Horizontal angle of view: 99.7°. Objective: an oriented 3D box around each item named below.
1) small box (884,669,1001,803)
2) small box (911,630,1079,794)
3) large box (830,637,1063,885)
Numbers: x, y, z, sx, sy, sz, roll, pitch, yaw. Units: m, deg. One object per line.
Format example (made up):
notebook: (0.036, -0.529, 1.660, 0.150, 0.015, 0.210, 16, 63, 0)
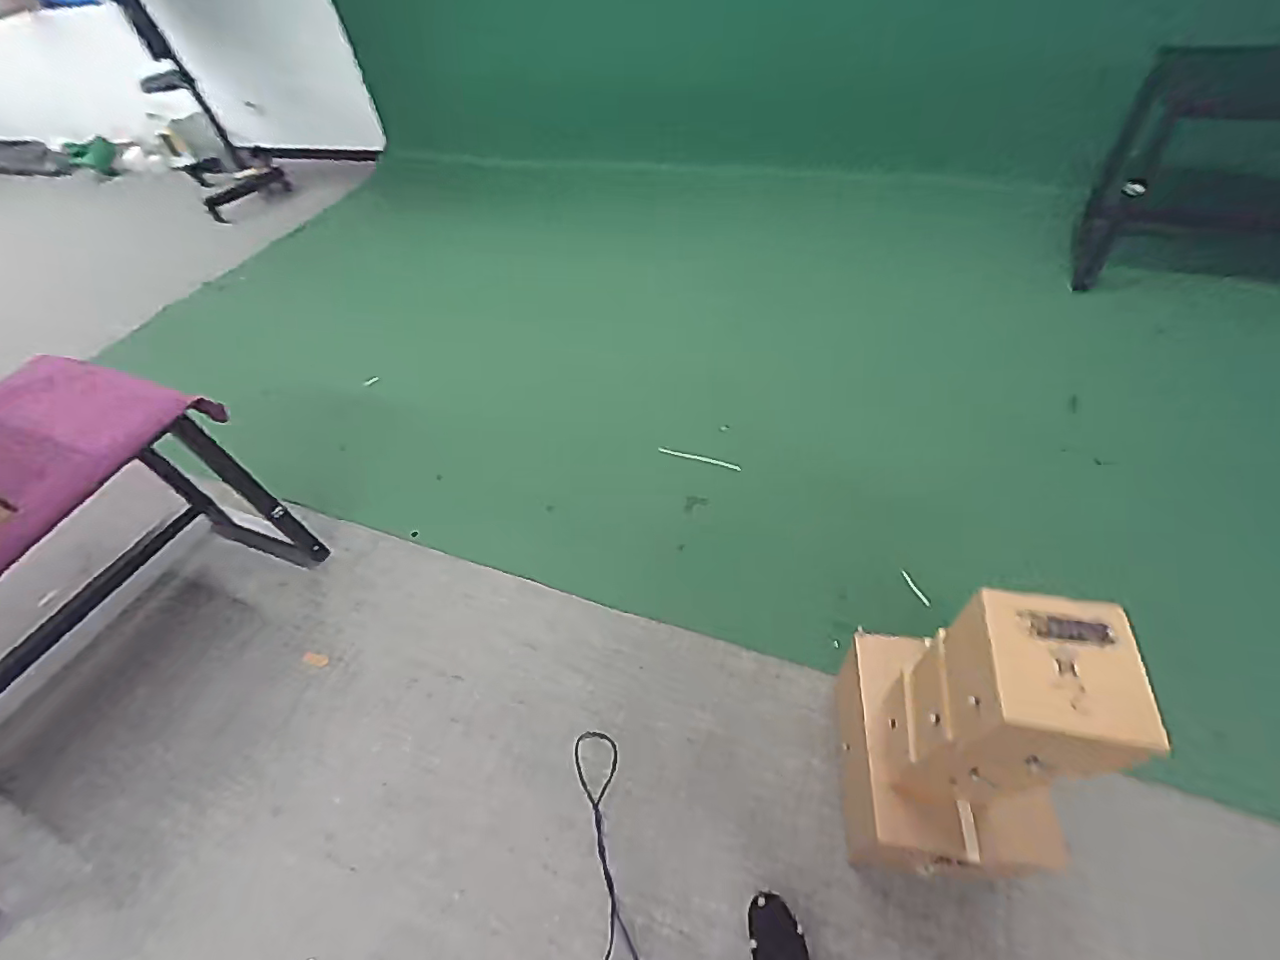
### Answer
small box: (0.551, 0.467, 0.981, 0.179, 0.176, 0.168, 6, 52, 13)
small box: (0.540, 0.367, 0.854, 0.168, 0.176, 0.179, 8, 52, 14)
large box: (0.611, 0.606, 1.178, 0.320, 0.320, 0.408, 3, 49, 9)
